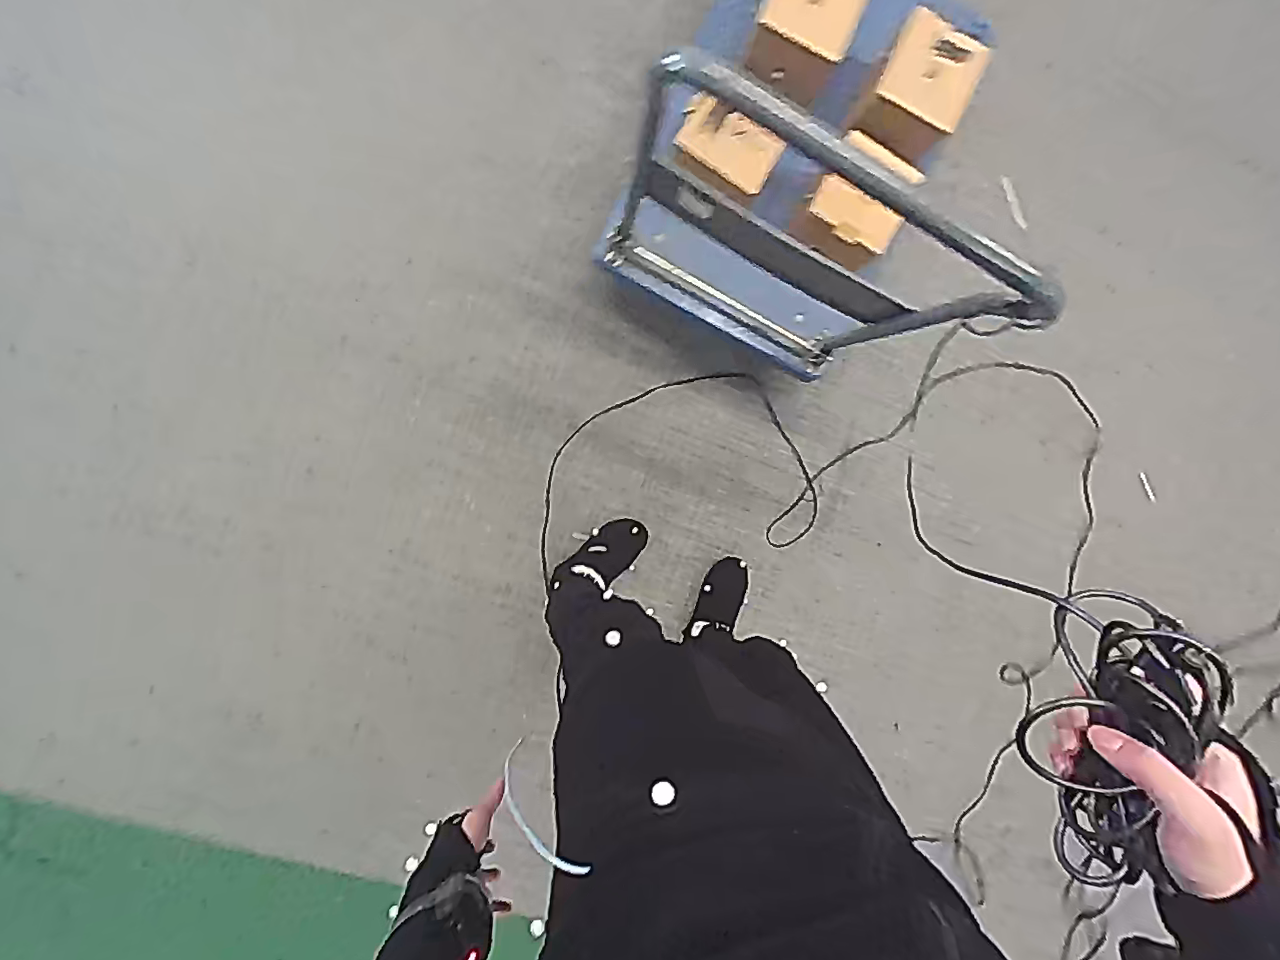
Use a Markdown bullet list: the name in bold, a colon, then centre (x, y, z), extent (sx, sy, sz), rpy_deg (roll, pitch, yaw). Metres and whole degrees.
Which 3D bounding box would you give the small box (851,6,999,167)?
- **small box**: centre (0.556, -0.767, 1.084), extent (0.168, 0.176, 0.179), rpy_deg (26, 92, -7)

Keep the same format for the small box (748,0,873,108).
- **small box**: centre (0.328, -0.879, 1.050), extent (0.168, 0.176, 0.179), rpy_deg (24, 92, -8)

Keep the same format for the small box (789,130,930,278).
- **small box**: centre (0.430, -0.543, 1.092), extent (0.168, 0.176, 0.179), rpy_deg (29, 92, -8)
